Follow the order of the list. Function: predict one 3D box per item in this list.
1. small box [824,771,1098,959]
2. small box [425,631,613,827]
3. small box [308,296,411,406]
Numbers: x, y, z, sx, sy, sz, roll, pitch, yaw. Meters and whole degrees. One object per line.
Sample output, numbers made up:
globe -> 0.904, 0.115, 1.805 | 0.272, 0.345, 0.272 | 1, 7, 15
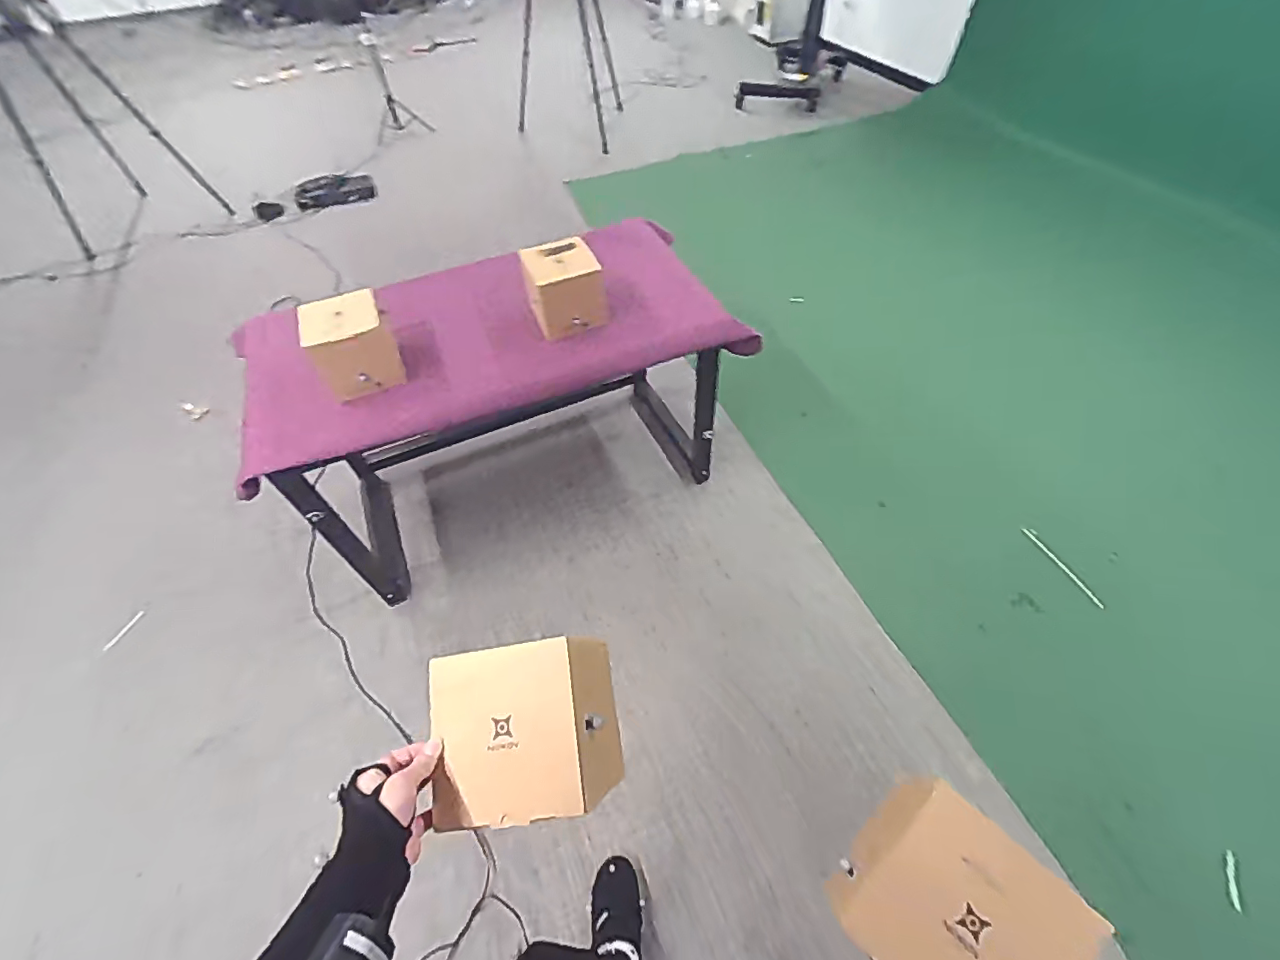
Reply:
small box -> 0.312, 0.440, 0.569 | 0.168, 0.176, 0.179 | 38, 76, 27
small box -> -0.138, 0.287, 0.651 | 0.168, 0.176, 0.179 | -13, 72, 7
small box -> -0.677, -0.311, 1.310 | 0.168, 0.176, 0.179 | -20, 54, -12
